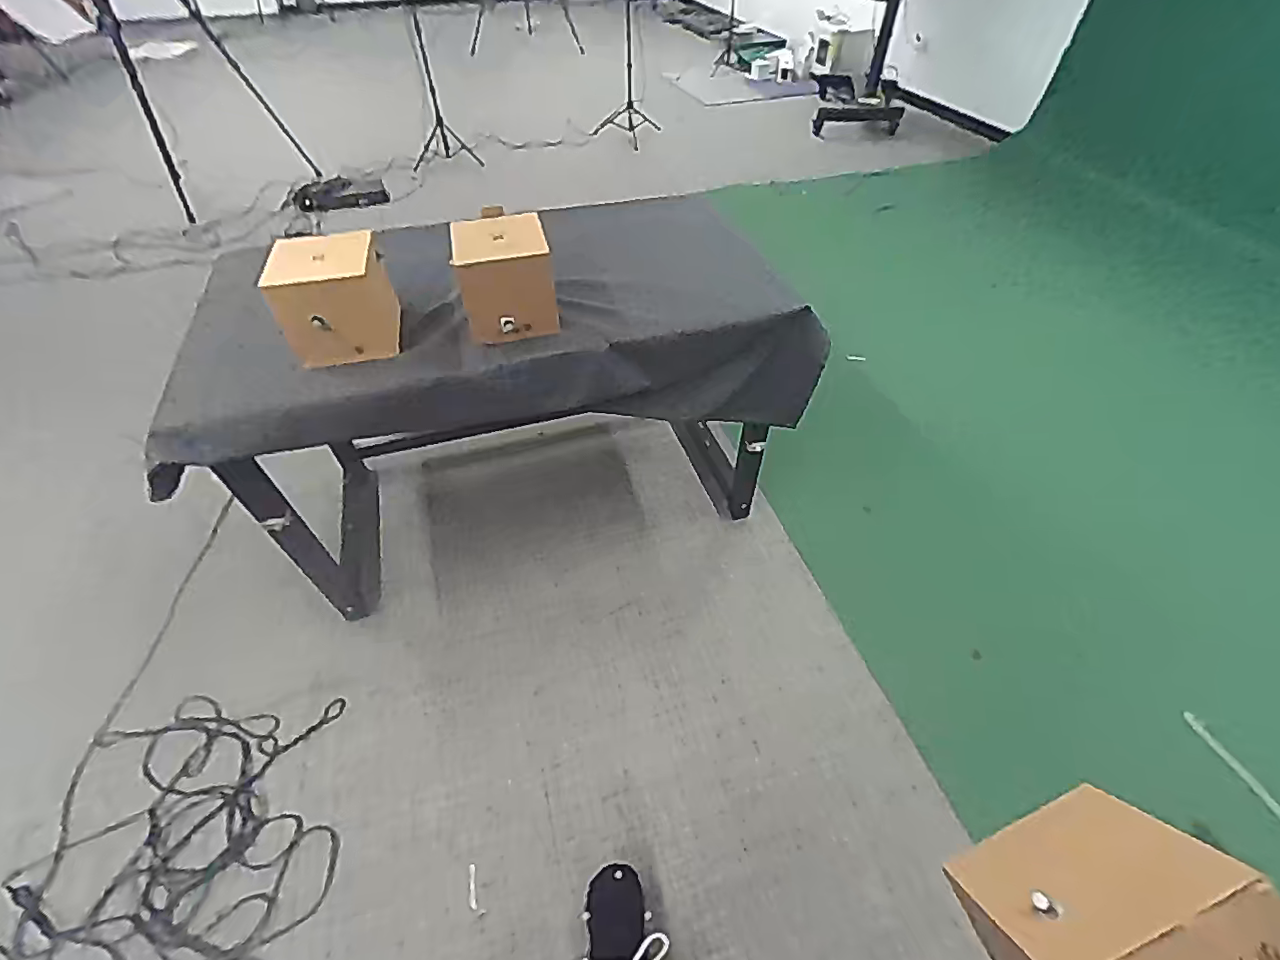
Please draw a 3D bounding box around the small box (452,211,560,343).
[{"bbox_3d":[-0.255,-0.388,1.034,0.168,0.176,0.179,-12,50,-10],"label":"small box"}]

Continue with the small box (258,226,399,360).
[{"bbox_3d":[-0.550,-0.333,0.983,0.168,0.176,0.179,-11,49,-10],"label":"small box"}]
